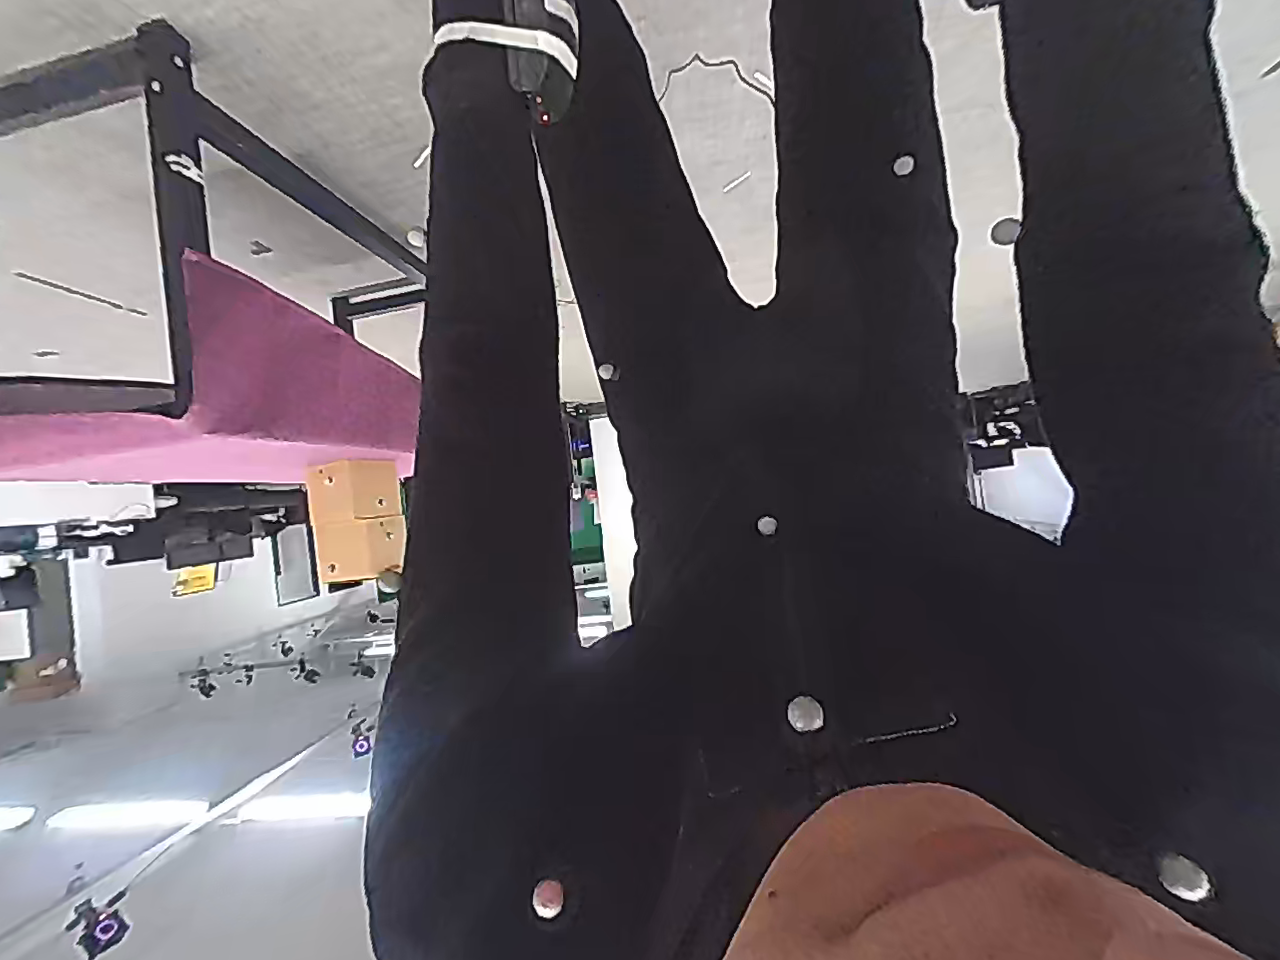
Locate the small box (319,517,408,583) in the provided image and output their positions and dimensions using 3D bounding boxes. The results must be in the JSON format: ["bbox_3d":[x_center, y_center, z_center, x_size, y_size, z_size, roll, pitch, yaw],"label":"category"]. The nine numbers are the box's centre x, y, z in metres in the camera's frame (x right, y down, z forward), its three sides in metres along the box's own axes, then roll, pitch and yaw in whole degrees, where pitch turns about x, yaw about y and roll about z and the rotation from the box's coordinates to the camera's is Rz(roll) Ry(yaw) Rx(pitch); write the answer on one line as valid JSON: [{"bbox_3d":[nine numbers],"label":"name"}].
[{"bbox_3d":[-0.809,0.199,1.580,0.179,0.176,0.168,-8,179,13],"label":"small box"}]

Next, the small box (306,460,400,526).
[{"bbox_3d":[-0.826,0.035,1.562,0.168,0.176,0.179,-8,178,19],"label":"small box"}]
